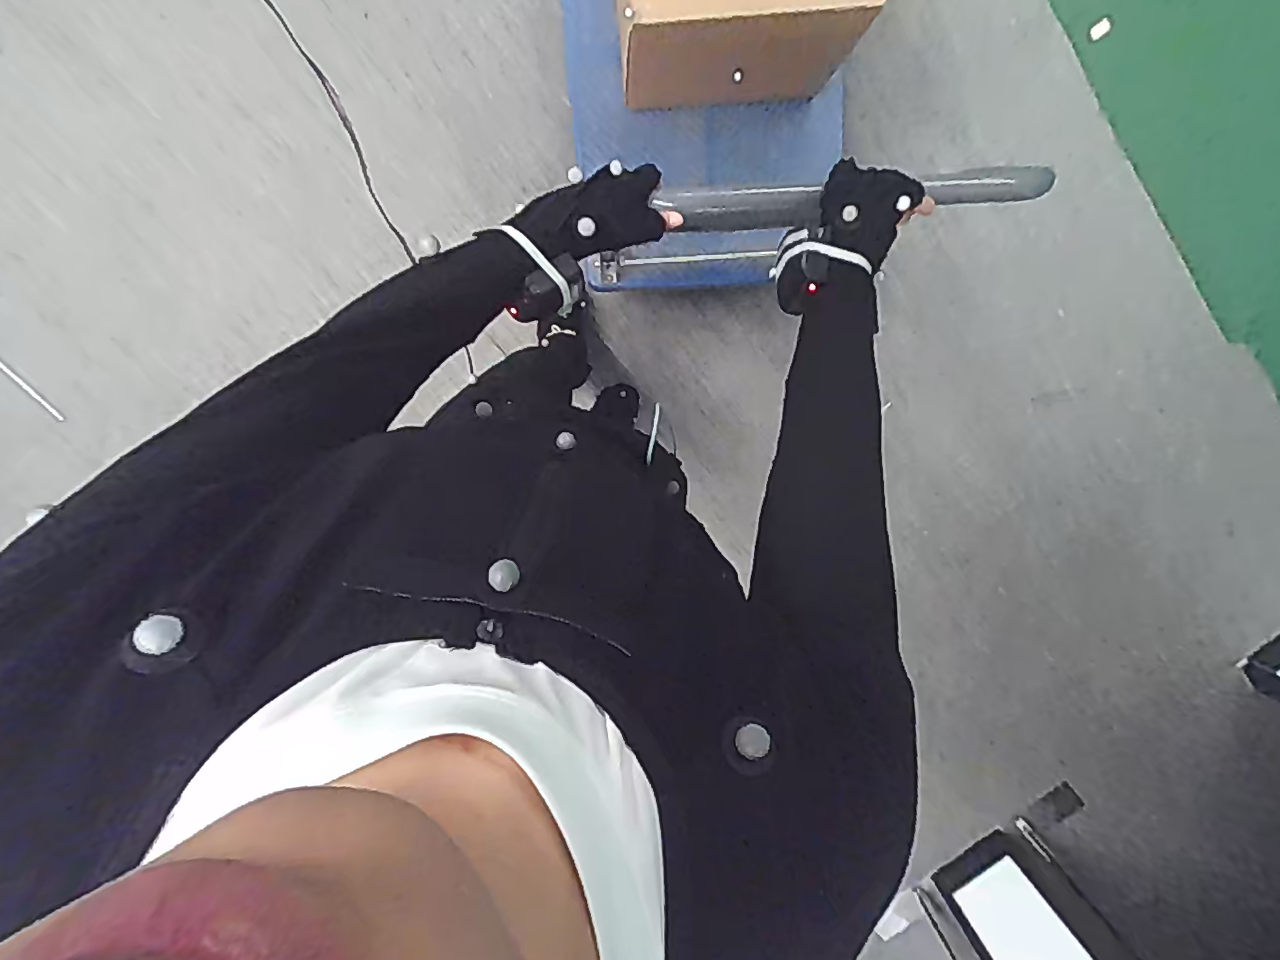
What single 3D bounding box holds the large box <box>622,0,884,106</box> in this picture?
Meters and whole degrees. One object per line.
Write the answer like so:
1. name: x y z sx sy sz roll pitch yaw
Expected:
1. large box: 0.172 -0.914 0.961 0.408 0.320 0.320 -6 103 -1
